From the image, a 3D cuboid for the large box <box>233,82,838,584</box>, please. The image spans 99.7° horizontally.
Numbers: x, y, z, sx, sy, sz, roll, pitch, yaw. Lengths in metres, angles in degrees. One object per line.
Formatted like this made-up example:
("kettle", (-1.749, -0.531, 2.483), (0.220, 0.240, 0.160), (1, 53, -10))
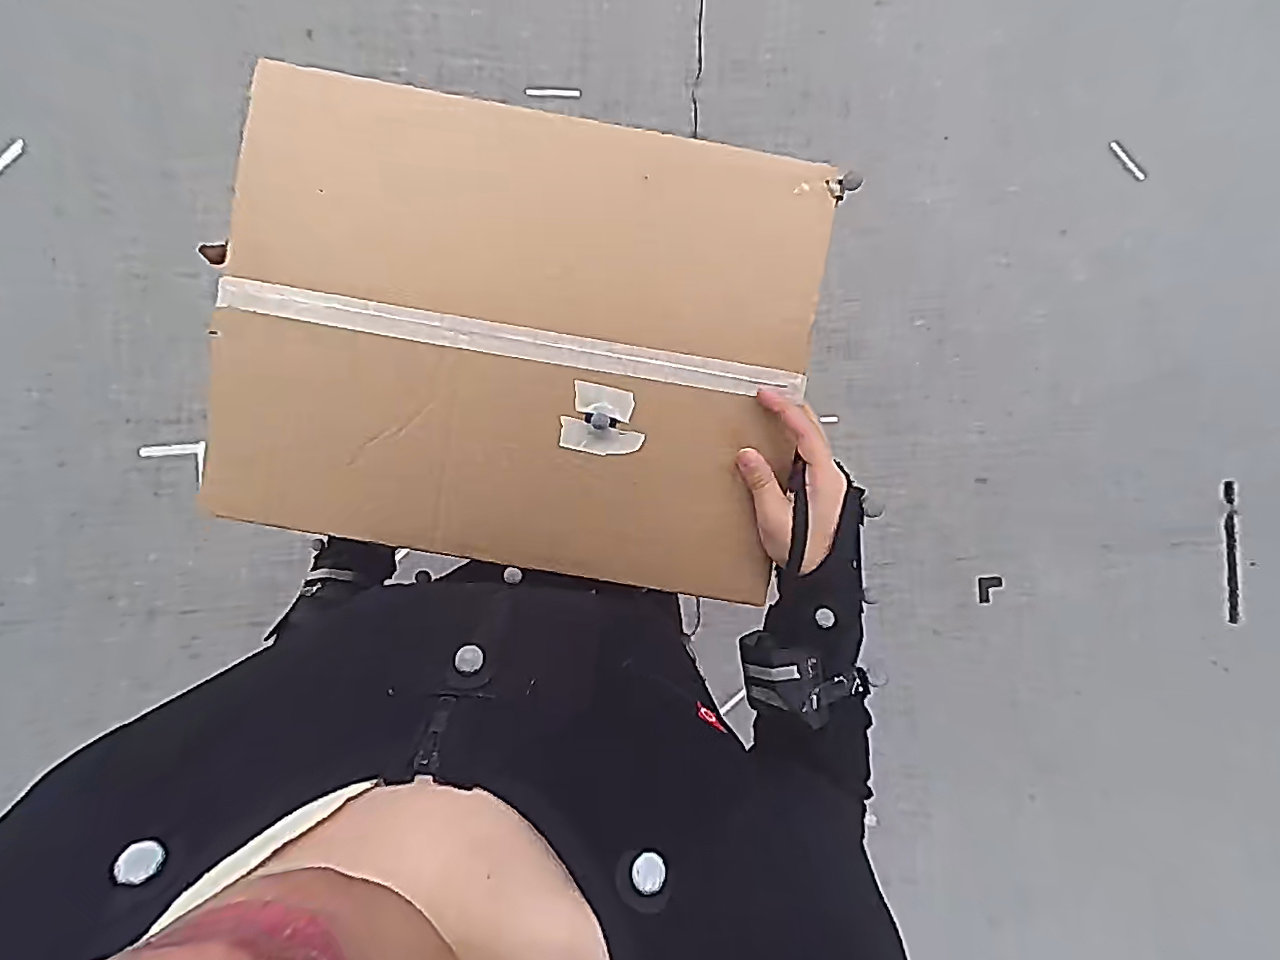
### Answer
("large box", (-0.080, -0.106, 0.535), (0.408, 0.320, 0.320), (9, 94, -2))
